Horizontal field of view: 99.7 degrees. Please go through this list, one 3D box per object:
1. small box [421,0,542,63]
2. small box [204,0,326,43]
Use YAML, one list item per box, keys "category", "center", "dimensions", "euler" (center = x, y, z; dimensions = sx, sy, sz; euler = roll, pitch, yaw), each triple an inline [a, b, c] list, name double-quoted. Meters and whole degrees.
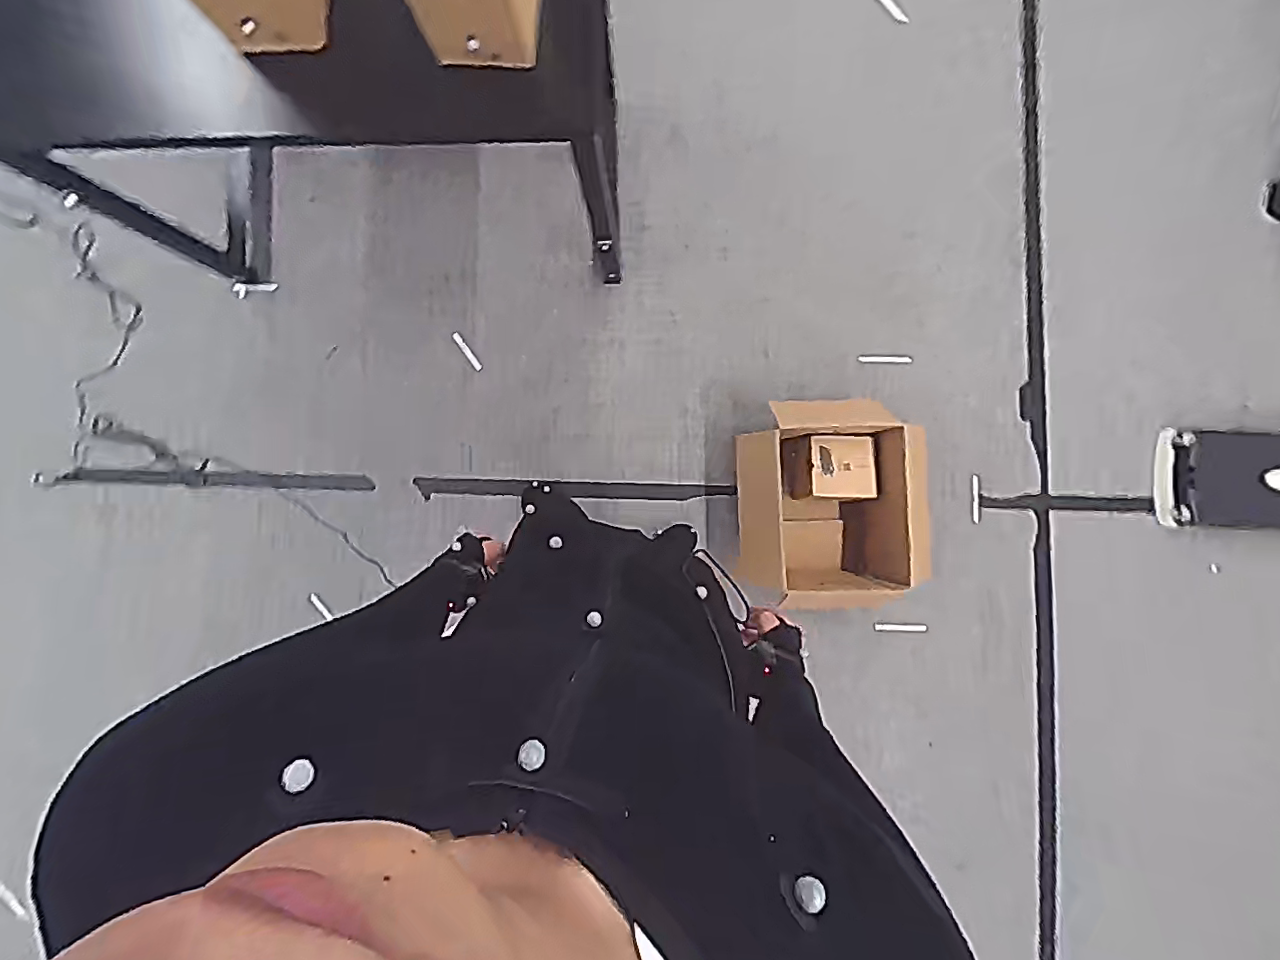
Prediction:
- category: "small box"
  center: [-0.252, -0.803, 0.840]
  dimensions: [0.168, 0.176, 0.179]
  euler: [6, 89, 3]
- category: "small box"
  center: [-0.622, -0.845, 0.854]
  dimensions: [0.168, 0.176, 0.179]
  euler: [0, 89, 2]
